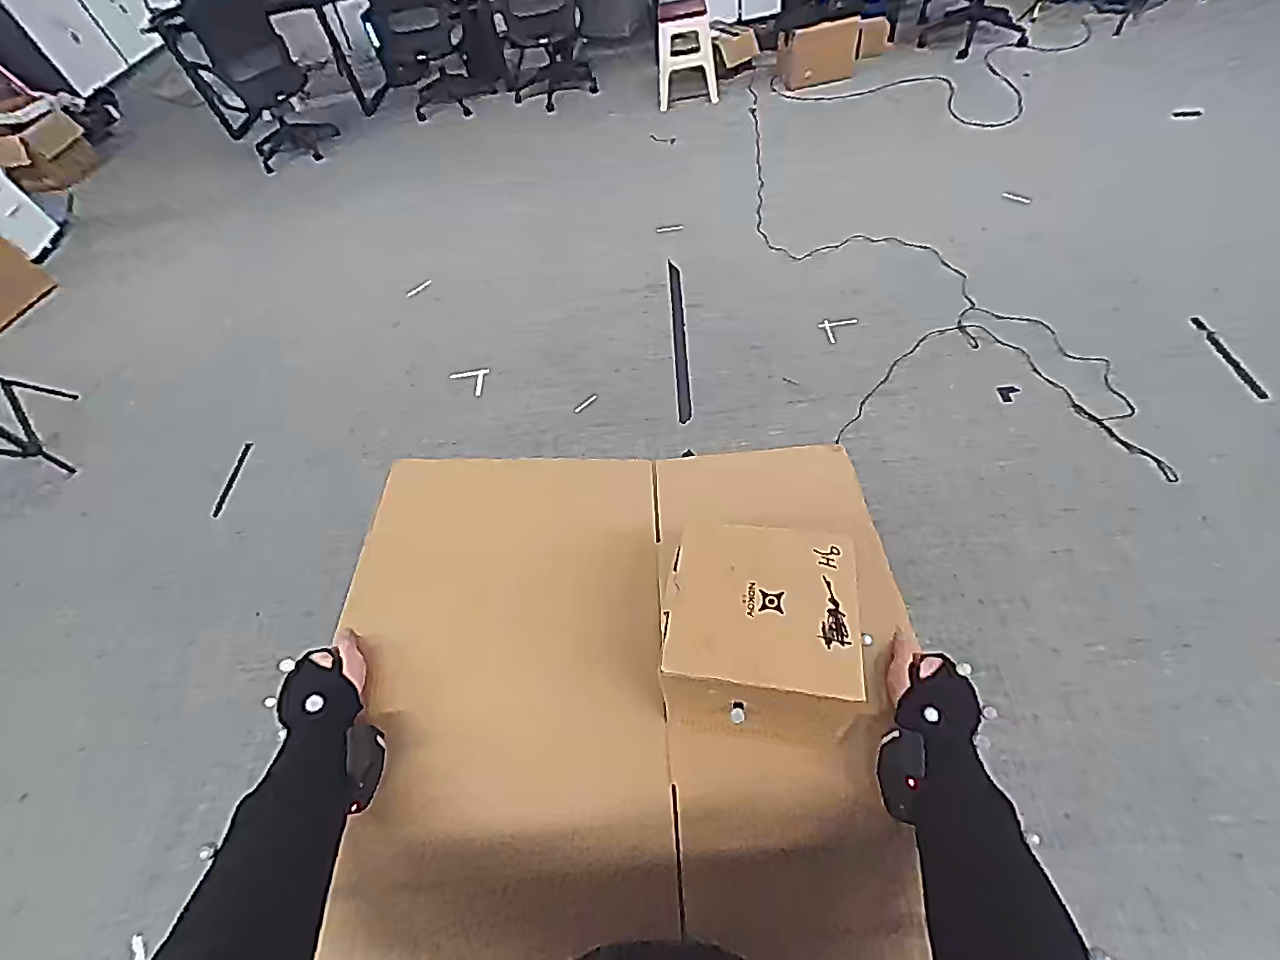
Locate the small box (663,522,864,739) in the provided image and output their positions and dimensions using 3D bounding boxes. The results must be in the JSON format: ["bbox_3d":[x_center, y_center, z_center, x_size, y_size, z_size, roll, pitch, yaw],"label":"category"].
[{"bbox_3d":[0.130,0.163,0.582,0.179,0.176,0.168,3,52,12],"label":"small box"}]
